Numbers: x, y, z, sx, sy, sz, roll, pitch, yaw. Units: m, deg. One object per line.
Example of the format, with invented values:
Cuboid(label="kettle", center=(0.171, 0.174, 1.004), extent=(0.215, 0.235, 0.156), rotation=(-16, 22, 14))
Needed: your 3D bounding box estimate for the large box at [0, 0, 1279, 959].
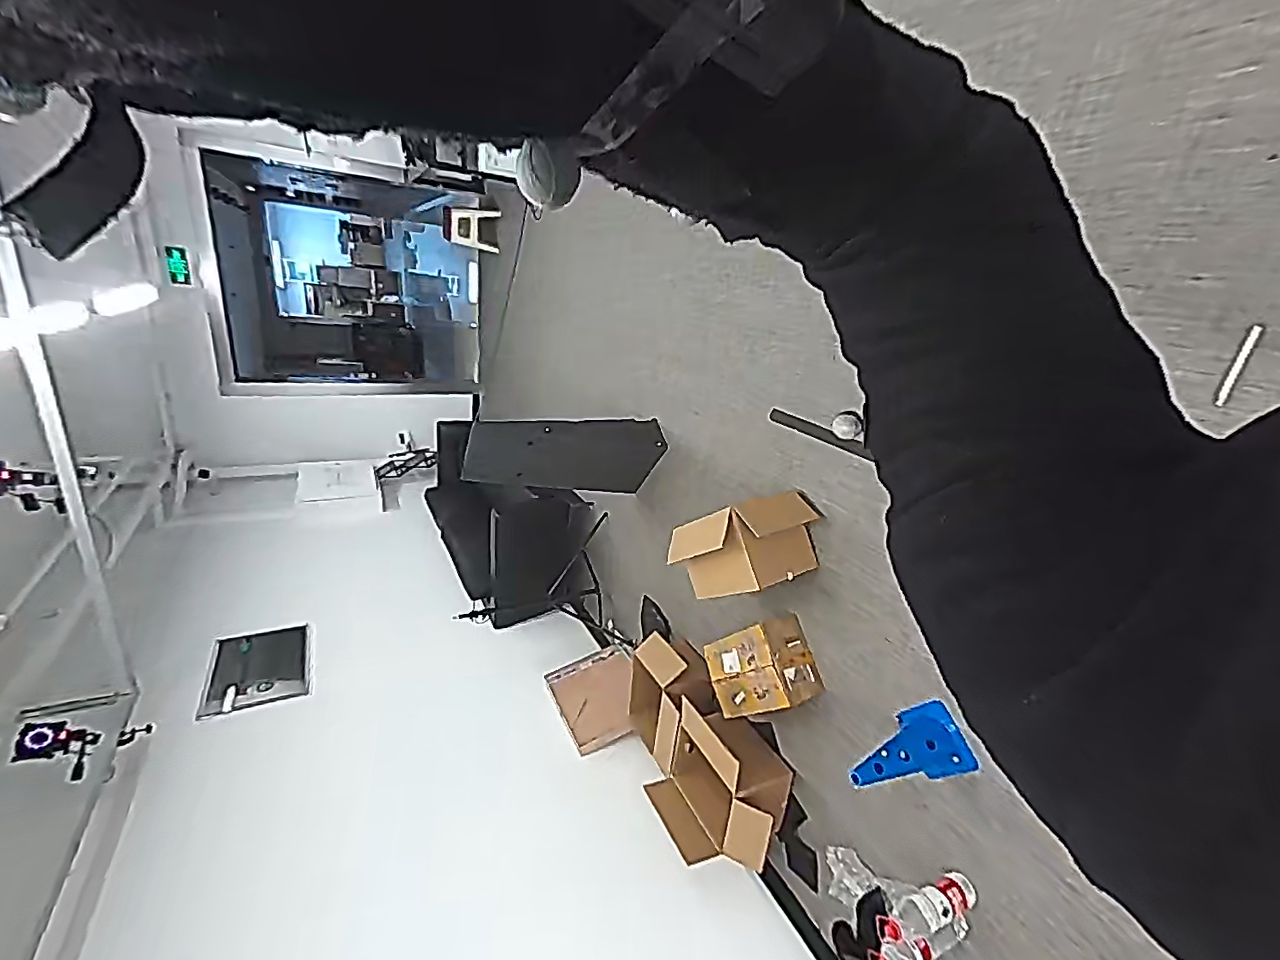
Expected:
Cuboid(label="large box", center=(0.090, 0.074, 0.145), extent=(0.408, 0.320, 0.320), rotation=(12, -125, 49))
